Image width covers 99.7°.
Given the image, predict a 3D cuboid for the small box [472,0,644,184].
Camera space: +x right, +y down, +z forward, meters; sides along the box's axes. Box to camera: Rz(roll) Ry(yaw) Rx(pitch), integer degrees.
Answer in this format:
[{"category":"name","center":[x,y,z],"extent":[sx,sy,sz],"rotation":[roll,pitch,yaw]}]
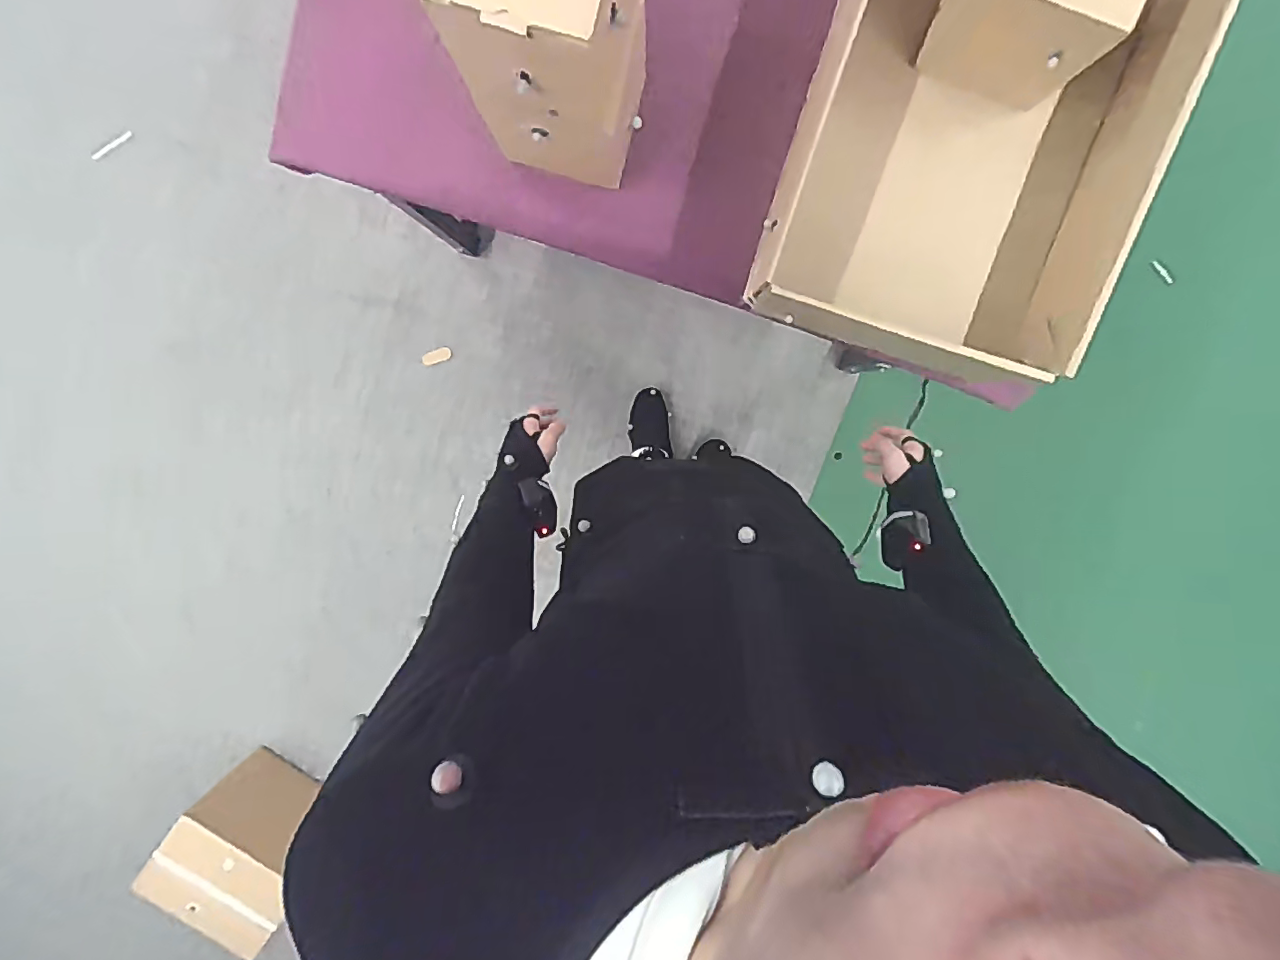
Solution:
[{"category":"small box","center":[-0.098,-0.527,0.723],"extent":[0.179,0.176,0.168],"rotation":[15,98,-1]}]

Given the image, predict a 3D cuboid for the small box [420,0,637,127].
[{"category":"small box","center":[-0.100,-0.510,0.561],"extent":[0.168,0.176,0.179],"rotation":[16,98,-2]}]
